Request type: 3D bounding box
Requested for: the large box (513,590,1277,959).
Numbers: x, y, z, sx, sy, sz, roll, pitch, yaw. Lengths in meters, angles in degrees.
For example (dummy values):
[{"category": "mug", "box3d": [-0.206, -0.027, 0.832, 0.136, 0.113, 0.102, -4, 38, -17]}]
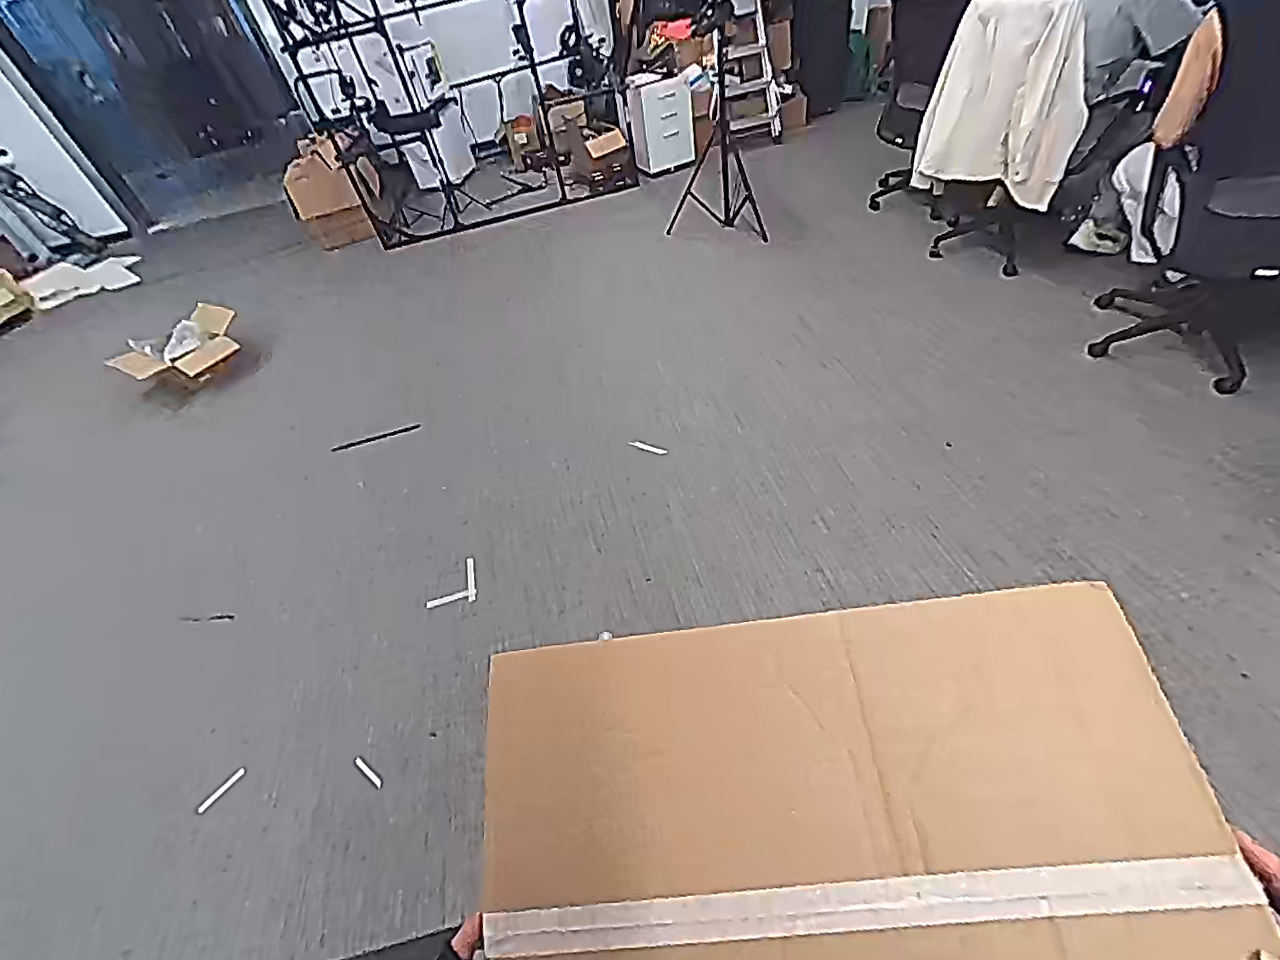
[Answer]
[{"category": "large box", "box3d": [0.141, 0.304, 0.436, 0.408, 0.320, 0.320, -9, 64, 6]}]
